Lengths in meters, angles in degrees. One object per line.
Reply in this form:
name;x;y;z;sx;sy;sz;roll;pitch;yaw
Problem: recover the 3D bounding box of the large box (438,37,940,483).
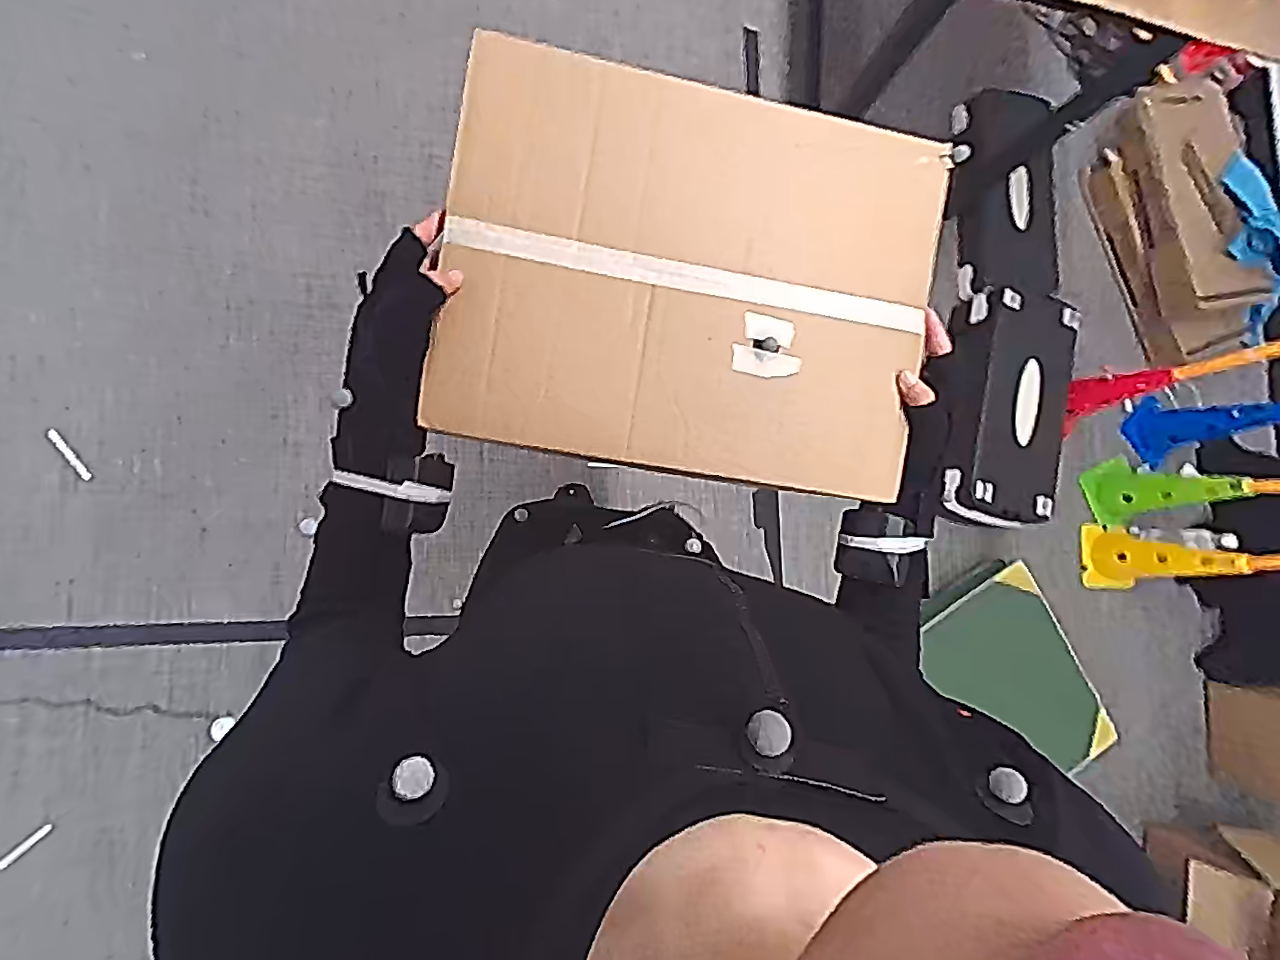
large box;0.032;-0.183;0.606;0.408;0.320;0.320;10;92;-7
